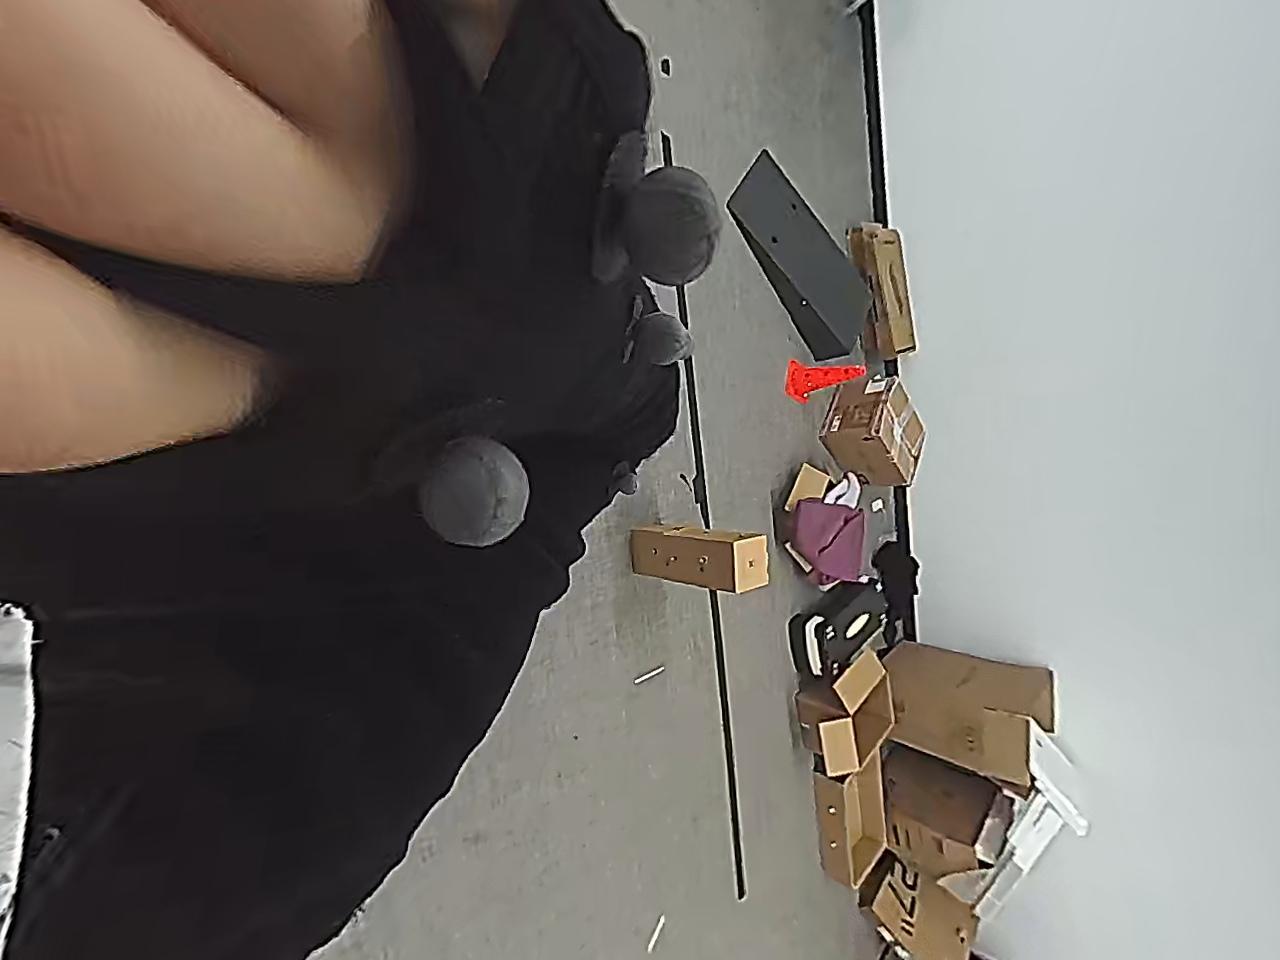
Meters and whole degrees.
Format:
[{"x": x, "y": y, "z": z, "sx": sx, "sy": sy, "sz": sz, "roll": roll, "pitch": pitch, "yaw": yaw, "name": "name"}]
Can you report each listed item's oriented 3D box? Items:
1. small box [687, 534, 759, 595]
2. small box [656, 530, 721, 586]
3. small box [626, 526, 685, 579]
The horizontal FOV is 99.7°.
[{"x": 0.275, "y": 0.273, "z": 1.794, "sx": 0.179, "sy": 0.176, "sz": 0.168, "roll": -5, "pitch": 92, "yaw": -42, "name": "small box"}, {"x": 0.174, "y": 0.272, "z": 1.922, "sx": 0.179, "sy": 0.176, "sz": 0.168, "roll": -5, "pitch": 93, "yaw": -42, "name": "small box"}, {"x": 0.058, "y": 0.266, "z": 2.039, "sx": 0.168, "sy": 0.176, "sz": 0.179, "roll": -4, "pitch": 93, "yaw": -42, "name": "small box"}]
